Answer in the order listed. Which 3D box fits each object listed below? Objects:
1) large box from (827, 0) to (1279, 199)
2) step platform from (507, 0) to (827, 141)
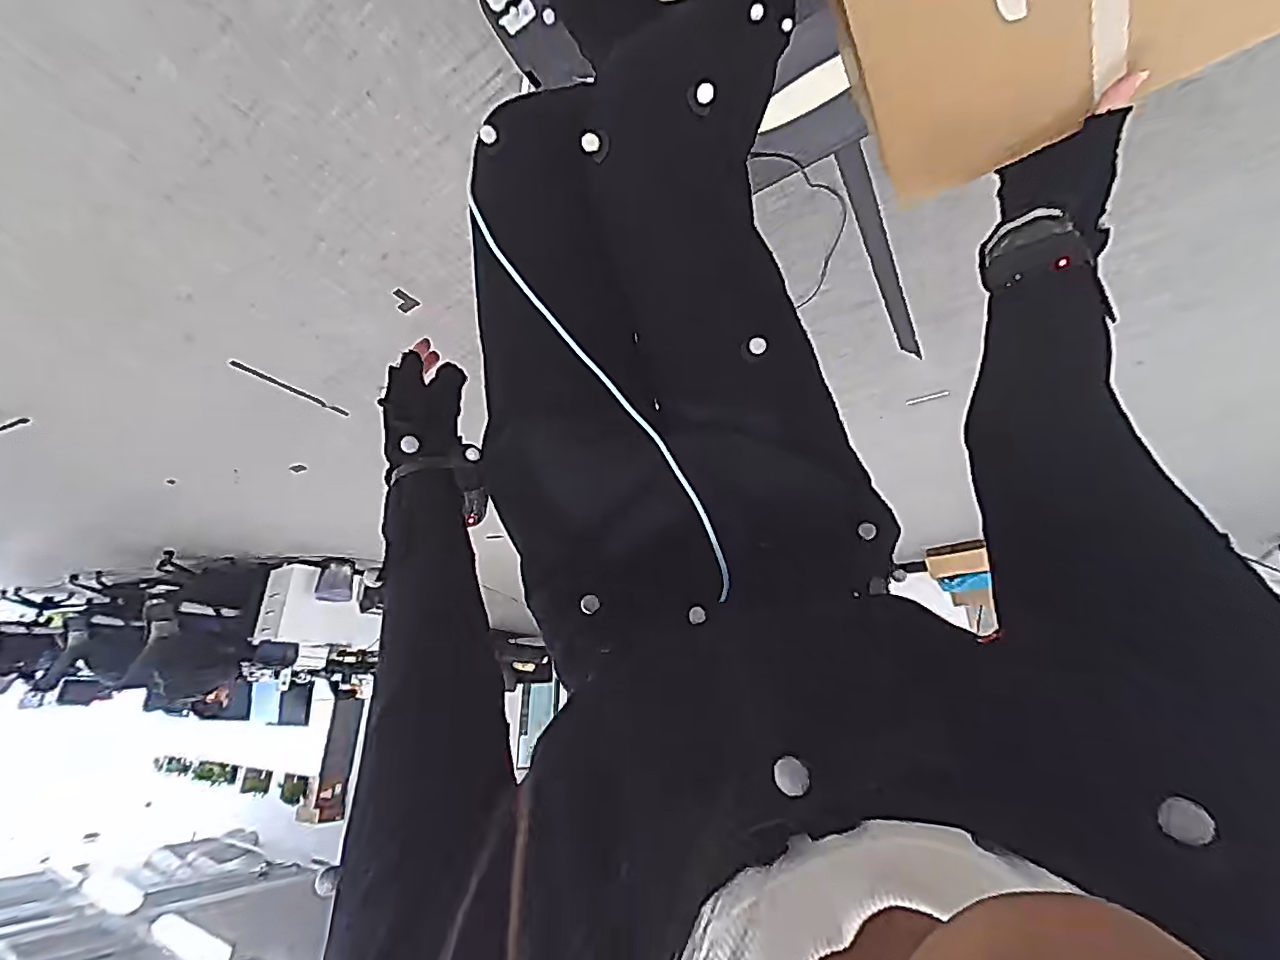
[{"bbox_3d":[0.282,-0.534,0.411,0.320,0.320,0.408,-17,137,29],"label":"large box"},{"bbox_3d":[0.148,-0.737,0.647,0.684,0.204,0.286,-16,152,32],"label":"step platform"}]
